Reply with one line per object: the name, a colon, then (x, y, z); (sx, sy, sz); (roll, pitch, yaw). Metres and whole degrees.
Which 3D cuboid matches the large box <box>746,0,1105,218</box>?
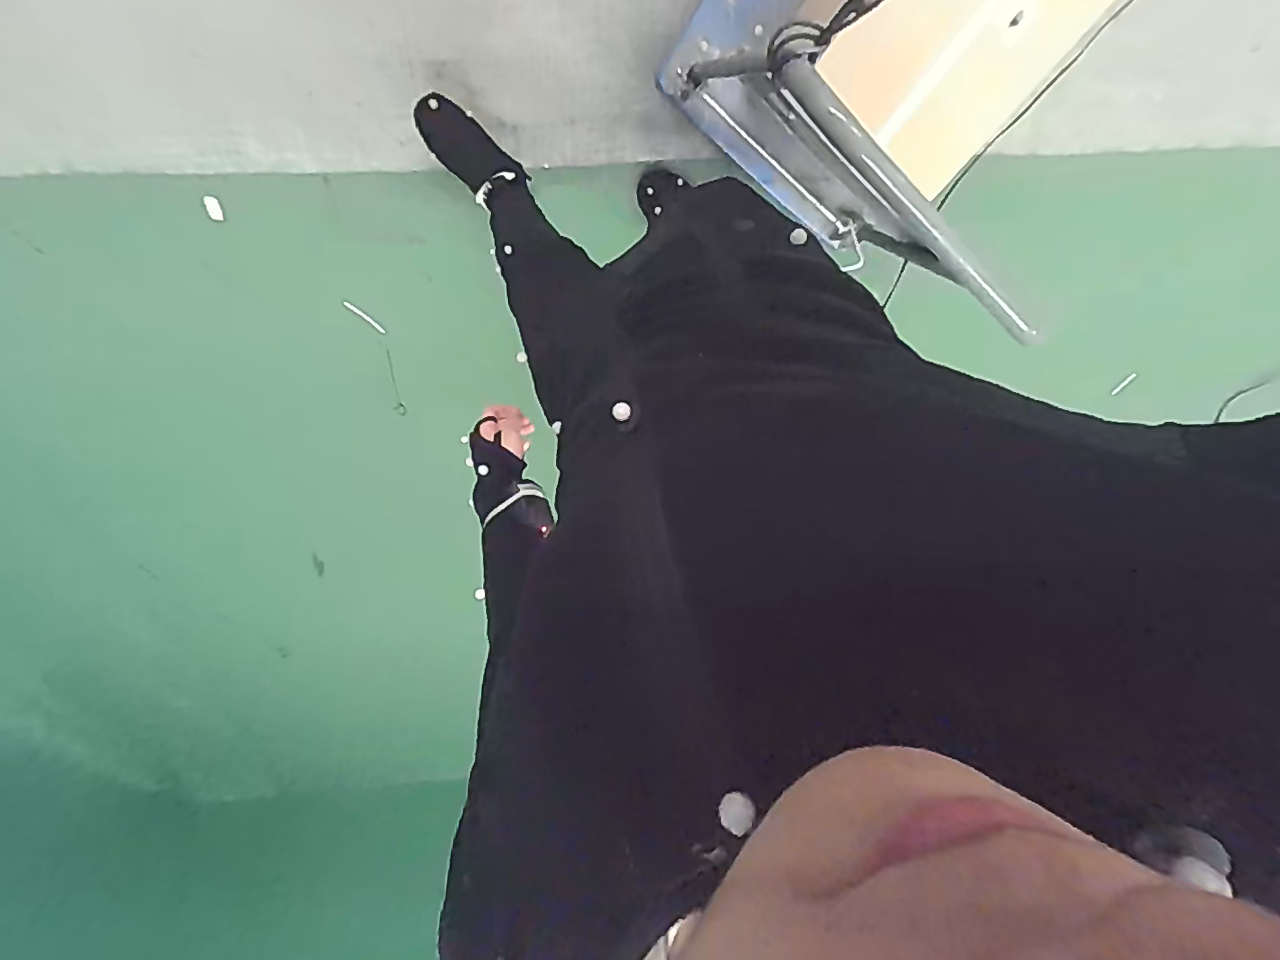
large box: (0.450, -0.744, 0.921); (0.320, 0.320, 0.408); (28, 120, -25)
